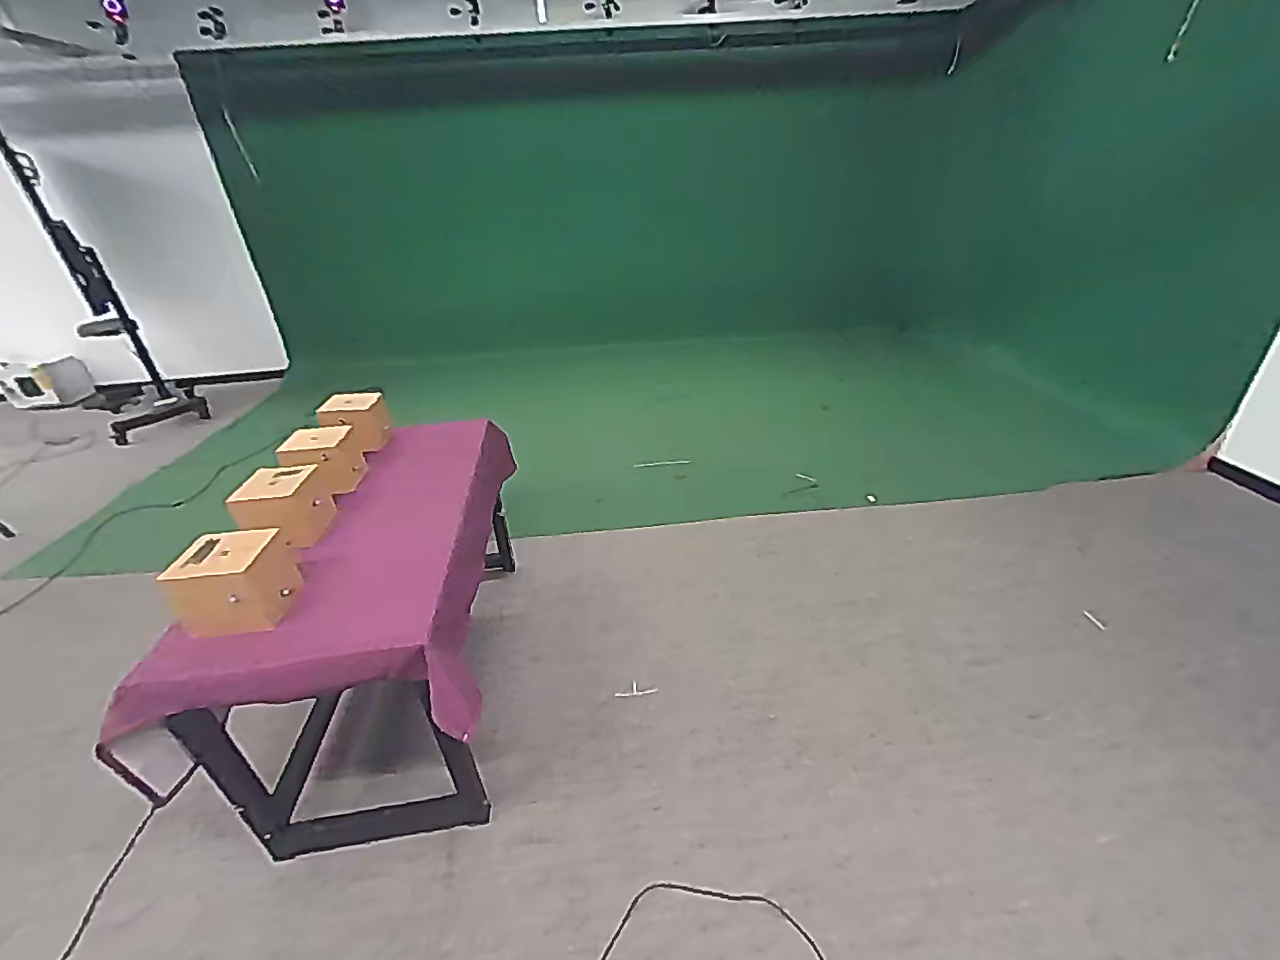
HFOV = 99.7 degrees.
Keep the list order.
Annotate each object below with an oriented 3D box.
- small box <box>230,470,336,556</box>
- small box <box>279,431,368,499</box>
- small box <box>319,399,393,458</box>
[{"bbox_3d":[-0.976,0.091,1.501,0.168,0.176,0.179,-6,30,-3],"label":"small box"},{"bbox_3d":[-1.014,-0.043,1.746,0.179,0.176,0.168,-5,30,-5],"label":"small box"},{"bbox_3d":[-1.040,-0.189,1.995,0.179,0.176,0.168,-3,30,-4],"label":"small box"}]
